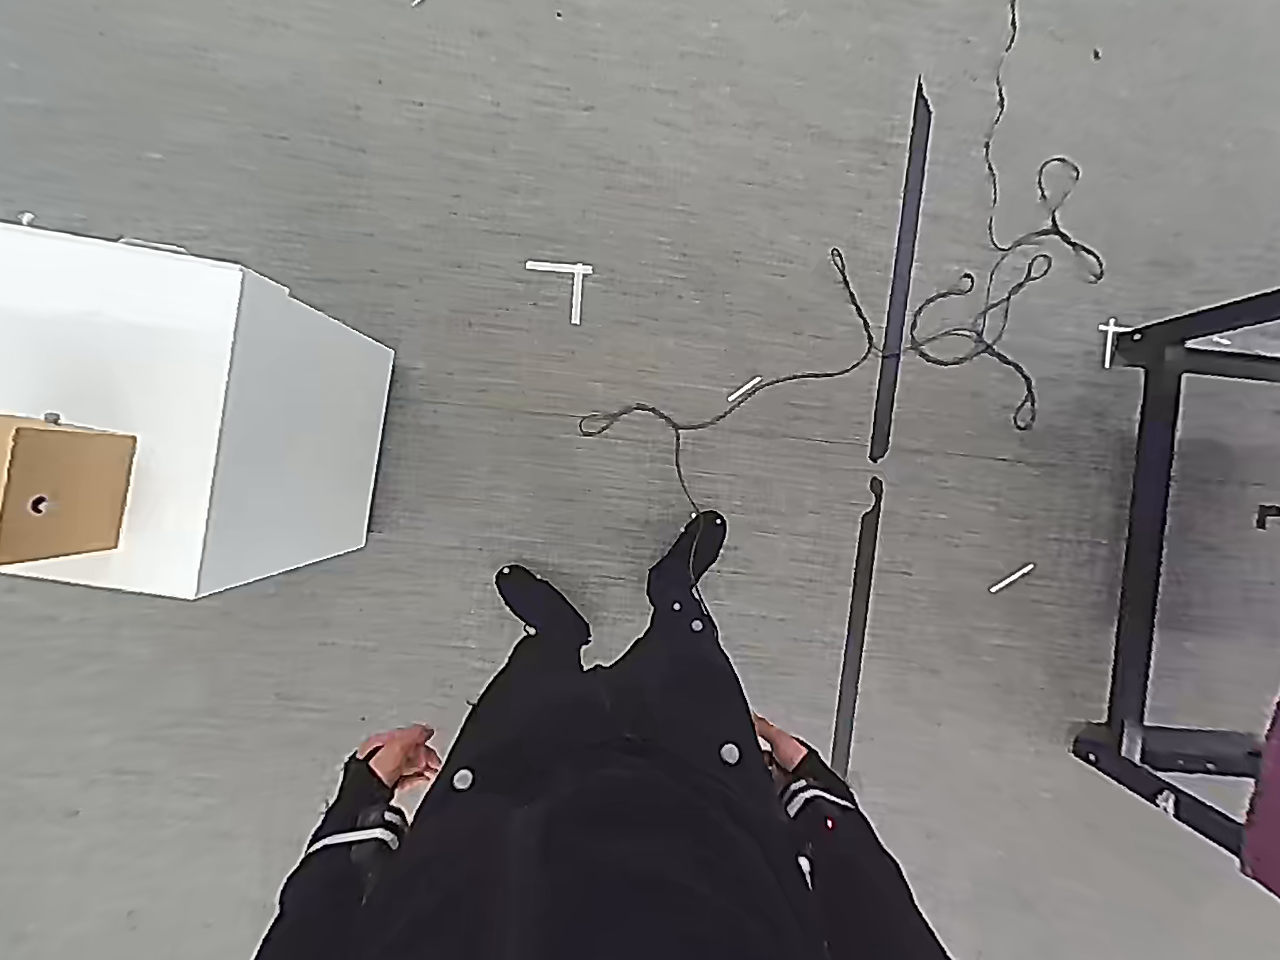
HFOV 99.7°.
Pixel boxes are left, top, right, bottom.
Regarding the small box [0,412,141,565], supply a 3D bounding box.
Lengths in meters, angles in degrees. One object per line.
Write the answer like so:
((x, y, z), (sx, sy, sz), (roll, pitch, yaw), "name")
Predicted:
((-0.843, 0.004, 0.738), (0.168, 0.176, 0.179), (11, 89, -3), "small box")
